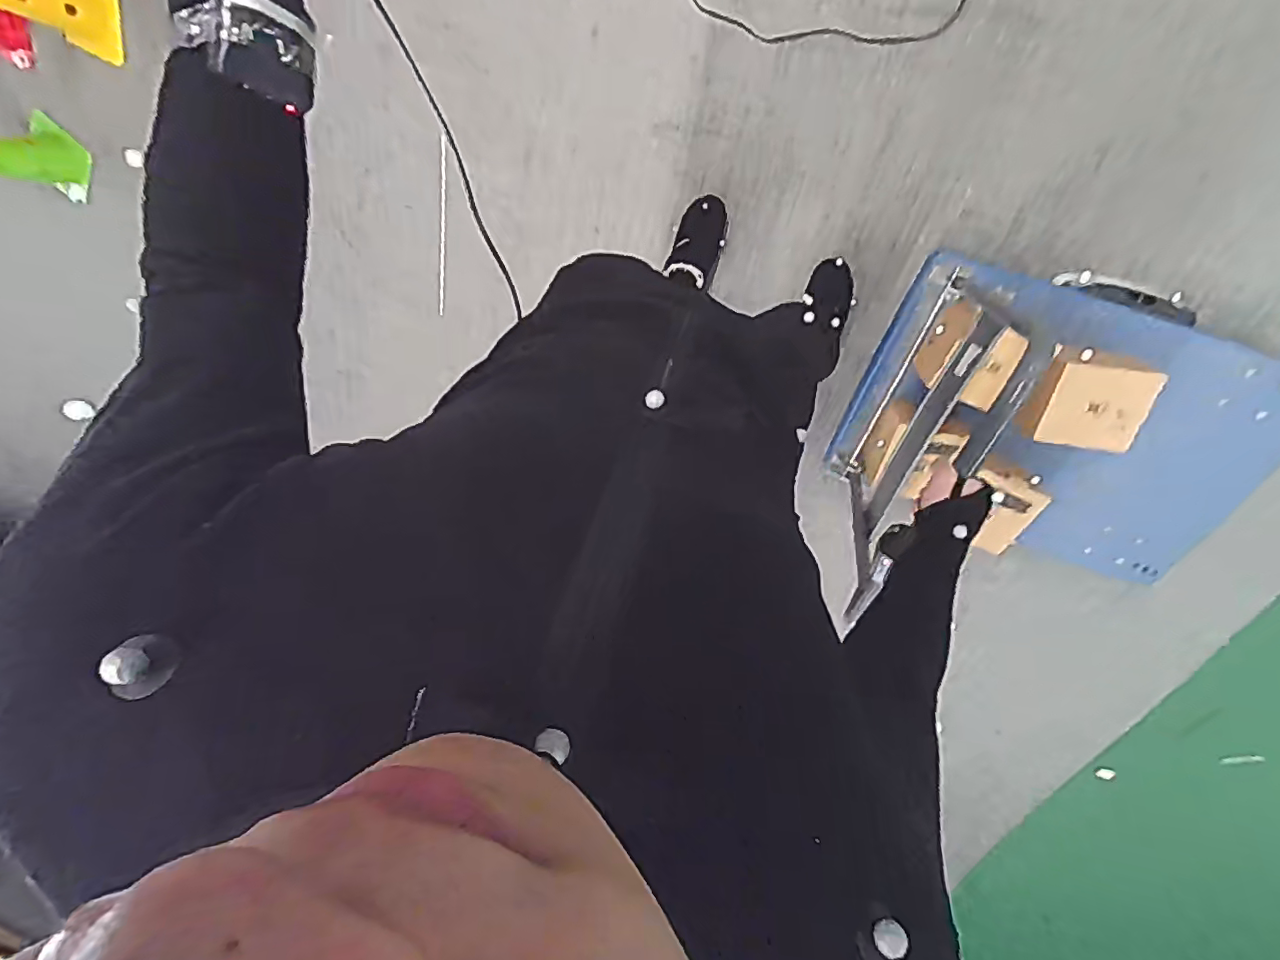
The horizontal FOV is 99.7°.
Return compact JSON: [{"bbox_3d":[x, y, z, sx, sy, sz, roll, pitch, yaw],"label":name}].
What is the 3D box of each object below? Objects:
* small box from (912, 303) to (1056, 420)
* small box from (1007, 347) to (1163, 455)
[{"bbox_3d":[0.713,-0.257,1.145,0.179,0.176,0.168,24,122,2],"label":"small box"},{"bbox_3d":[0.910,-0.173,1.134,0.179,0.176,0.168,10,120,10],"label":"small box"}]
